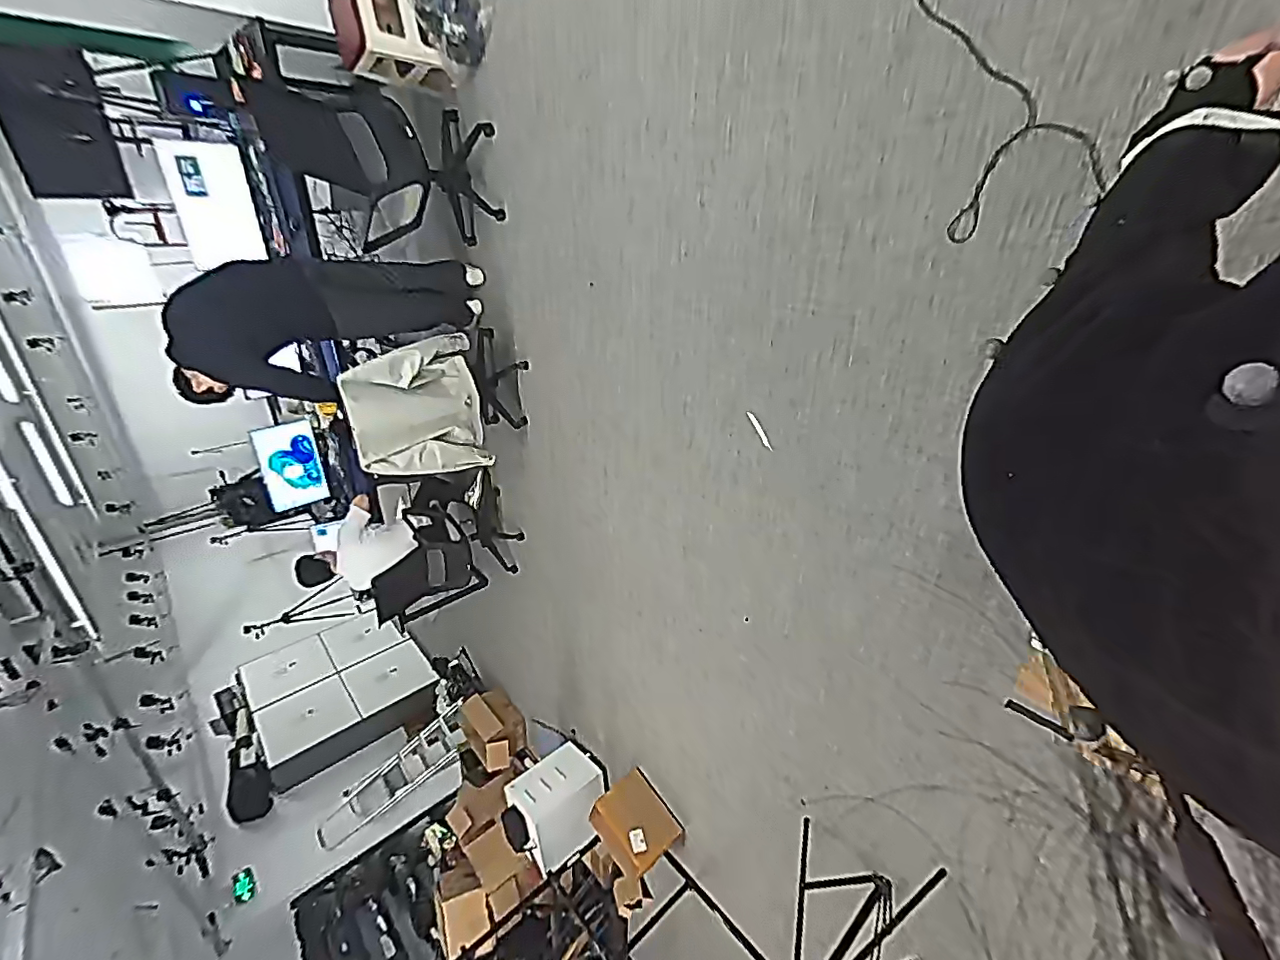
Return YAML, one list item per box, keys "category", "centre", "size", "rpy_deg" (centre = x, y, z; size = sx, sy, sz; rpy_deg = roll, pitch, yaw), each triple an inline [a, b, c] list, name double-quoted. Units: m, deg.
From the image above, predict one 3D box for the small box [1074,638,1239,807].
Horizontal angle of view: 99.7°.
- category: "small box"
  centre: [0.918, 0.420, 0.963]
  size: [0.168, 0.176, 0.179]
  rpy_deg: [24, 124, 43]
